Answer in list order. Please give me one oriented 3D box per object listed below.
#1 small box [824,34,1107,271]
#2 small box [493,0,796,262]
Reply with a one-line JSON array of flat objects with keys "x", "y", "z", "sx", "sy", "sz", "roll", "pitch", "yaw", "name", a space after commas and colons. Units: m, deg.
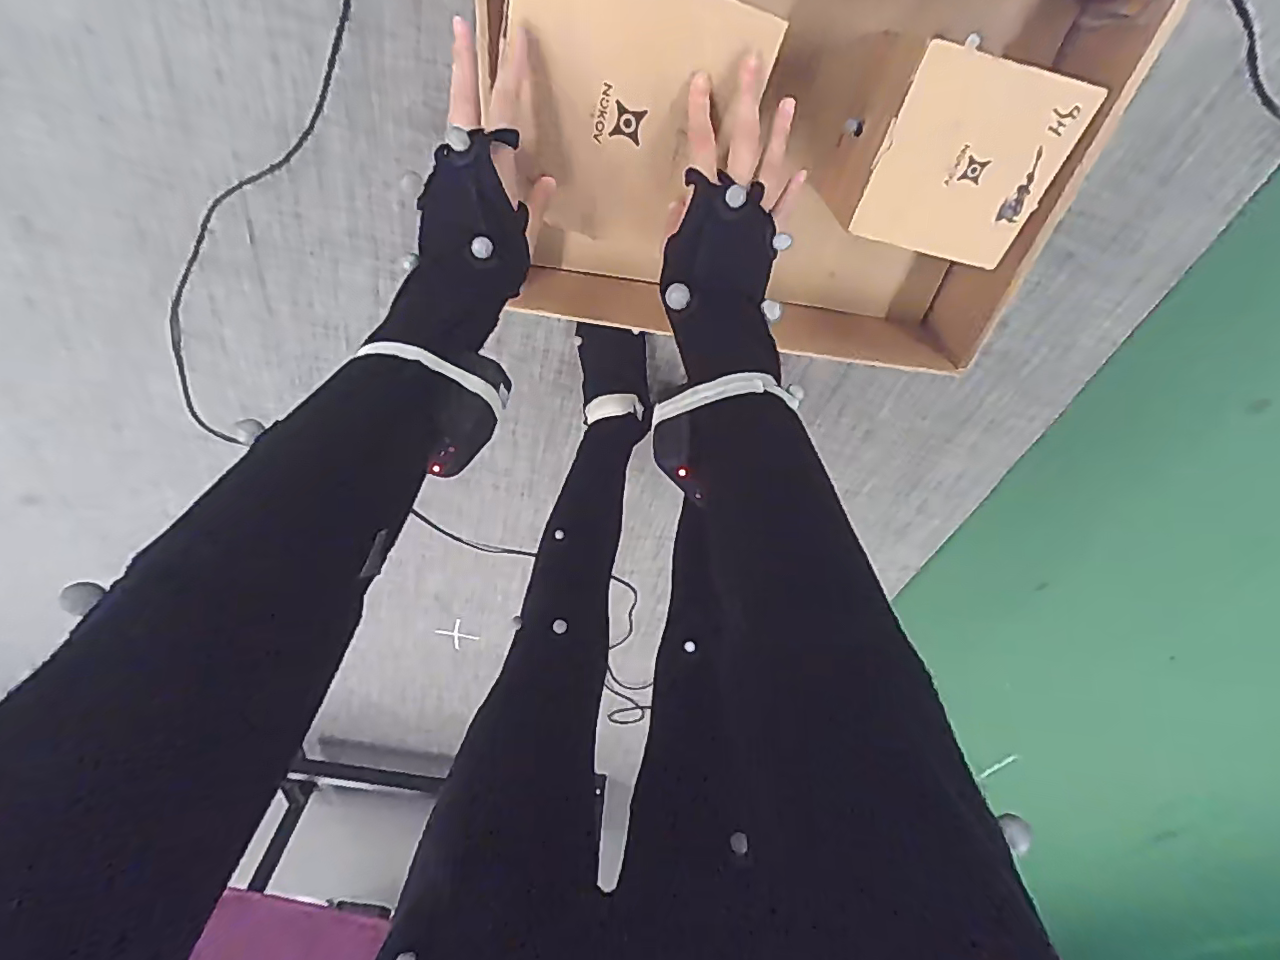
[{"x": 0.324, "y": -0.356, "z": 0.587, "sx": 0.179, "sy": 0.176, "sz": 0.168, "roll": 13, "pitch": 131, "yaw": -6, "name": "small box"}, {"x": -0.004, "y": -0.309, "z": 0.437, "sx": 0.179, "sy": 0.176, "sz": 0.168, "roll": 14, "pitch": 132, "yaw": -11, "name": "small box"}]
